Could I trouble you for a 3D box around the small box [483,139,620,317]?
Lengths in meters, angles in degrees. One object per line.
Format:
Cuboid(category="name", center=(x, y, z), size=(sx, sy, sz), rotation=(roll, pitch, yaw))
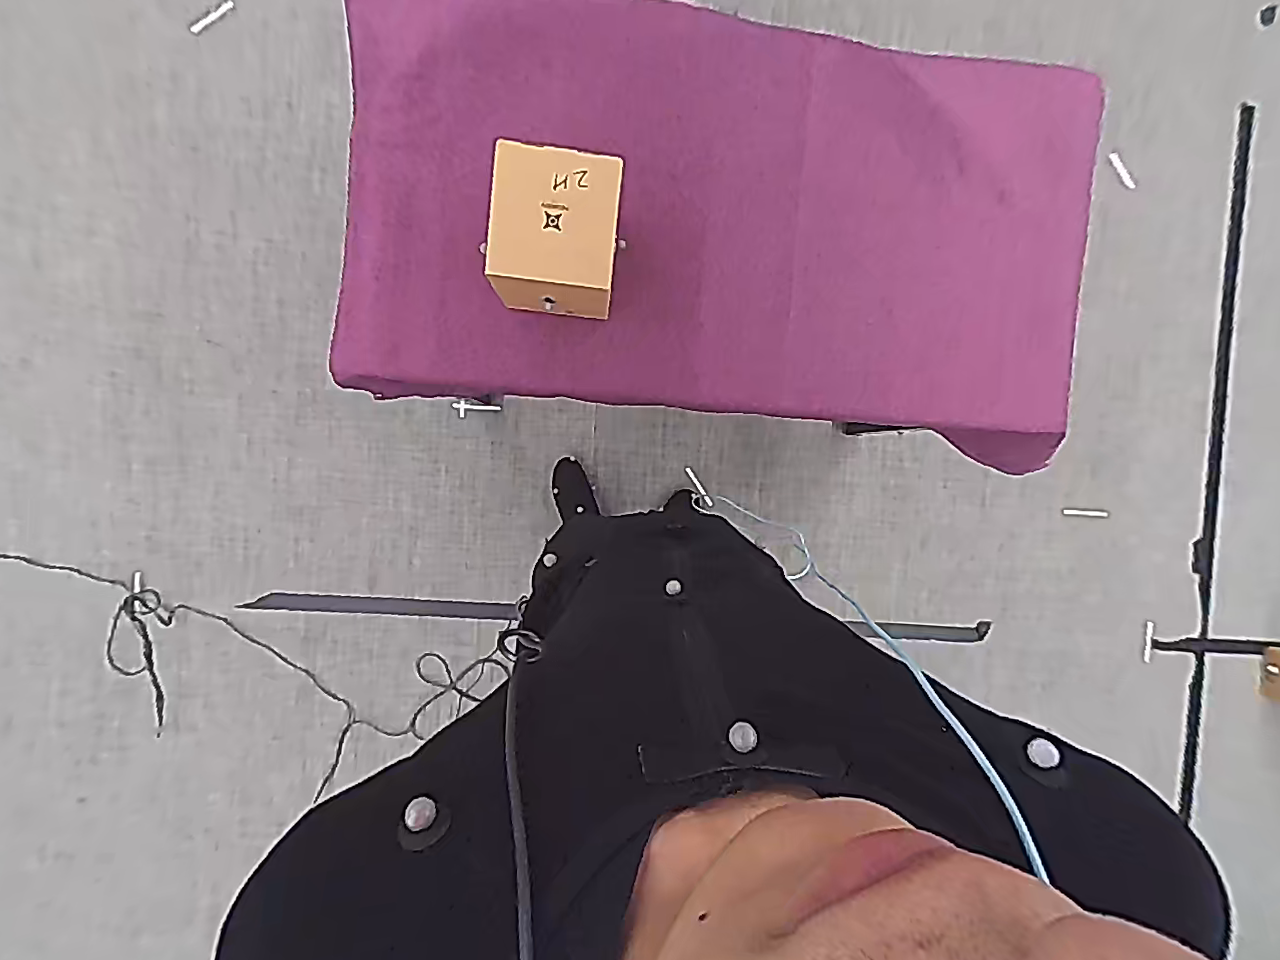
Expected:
Cuboid(category="small box", center=(-0.121, -0.347, 0.781), size=(0.168, 0.176, 0.179), rotation=(6, 92, -6))
